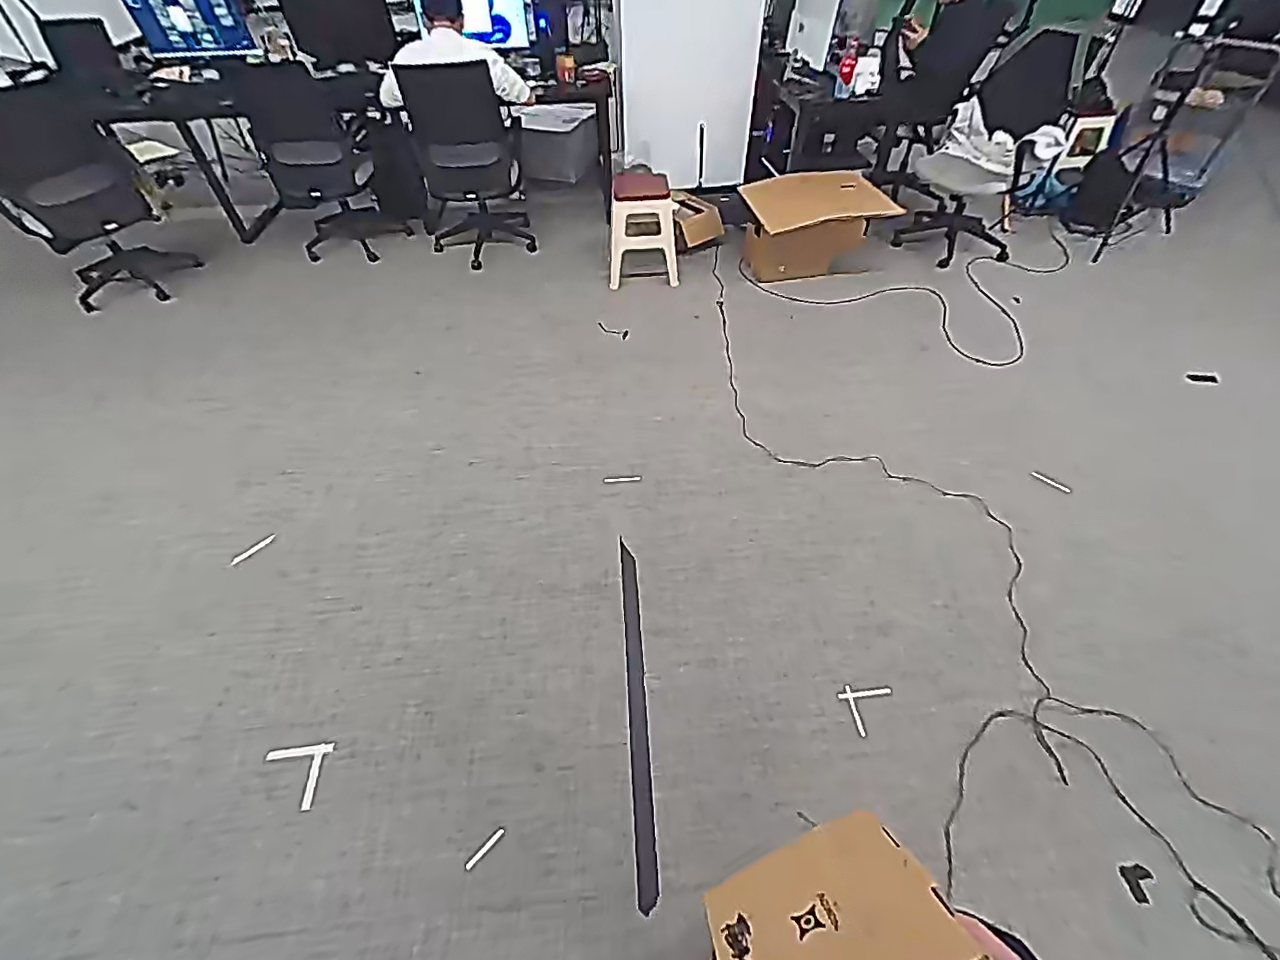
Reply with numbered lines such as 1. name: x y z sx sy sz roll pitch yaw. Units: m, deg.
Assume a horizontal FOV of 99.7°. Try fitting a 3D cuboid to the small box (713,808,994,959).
1. small box: 0.184 0.423 0.436 0.179 0.168 0.176 -25 90 -4
